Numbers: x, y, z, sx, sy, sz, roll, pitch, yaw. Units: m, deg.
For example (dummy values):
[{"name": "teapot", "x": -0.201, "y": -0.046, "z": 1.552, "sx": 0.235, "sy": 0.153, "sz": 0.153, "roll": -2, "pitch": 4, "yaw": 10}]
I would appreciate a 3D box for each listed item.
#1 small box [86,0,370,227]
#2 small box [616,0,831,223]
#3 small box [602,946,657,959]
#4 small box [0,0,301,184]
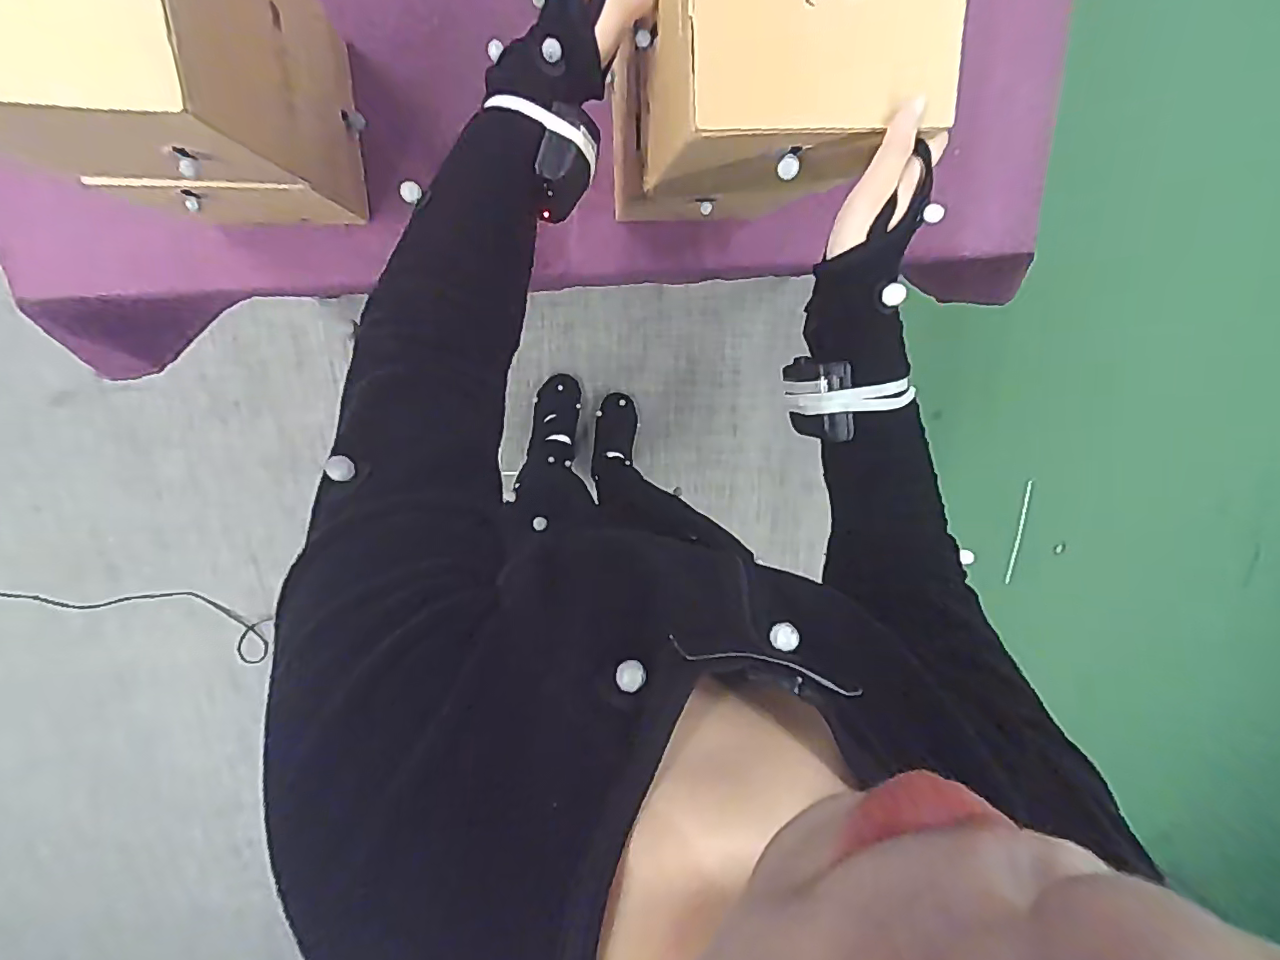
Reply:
[{"name": "small box", "x": -0.362, "y": -0.340, "z": 0.485, "sx": 0.168, "sy": 0.176, "sz": 0.179, "roll": -3, "pitch": 107, "yaw": -8}, {"name": "small box", "x": 0.068, "y": -0.364, "z": 0.550, "sx": 0.179, "sy": 0.176, "sz": 0.168, "roll": -4, "pitch": 107, "yaw": -9}, {"name": "small box", "x": -0.030, "y": 1.501, "z": 1.561, "sx": 0.179, "sy": 0.176, "sz": 0.168, "roll": -3, "pitch": 110, "yaw": -9}, {"name": "small box", "x": -0.335, "y": -0.292, "z": 0.330, "sx": 0.179, "sy": 0.176, "sz": 0.168, "roll": -1, "pitch": 107, "yaw": -9}]
